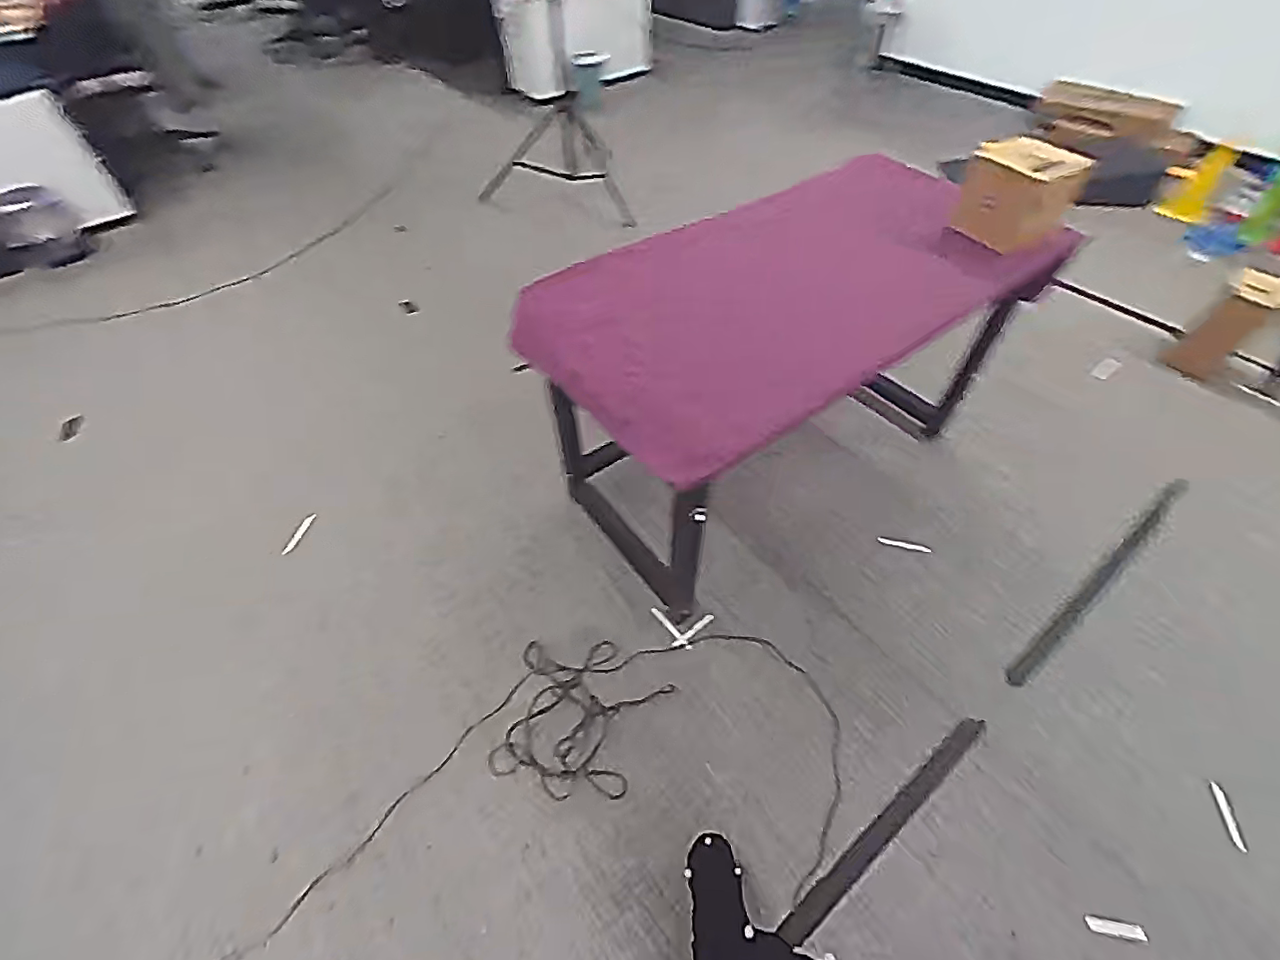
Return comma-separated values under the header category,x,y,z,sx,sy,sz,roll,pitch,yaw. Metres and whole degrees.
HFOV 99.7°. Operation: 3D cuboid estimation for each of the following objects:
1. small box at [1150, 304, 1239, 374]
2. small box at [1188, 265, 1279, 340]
category,x,y,z,sx,sy,sz,roll,pitch,yaw
small box,2.107,-0.526,2.040,0.168,0.176,0.179,-35,58,-24
small box,2.108,-0.623,1.907,0.179,0.176,0.168,-32,58,-23
